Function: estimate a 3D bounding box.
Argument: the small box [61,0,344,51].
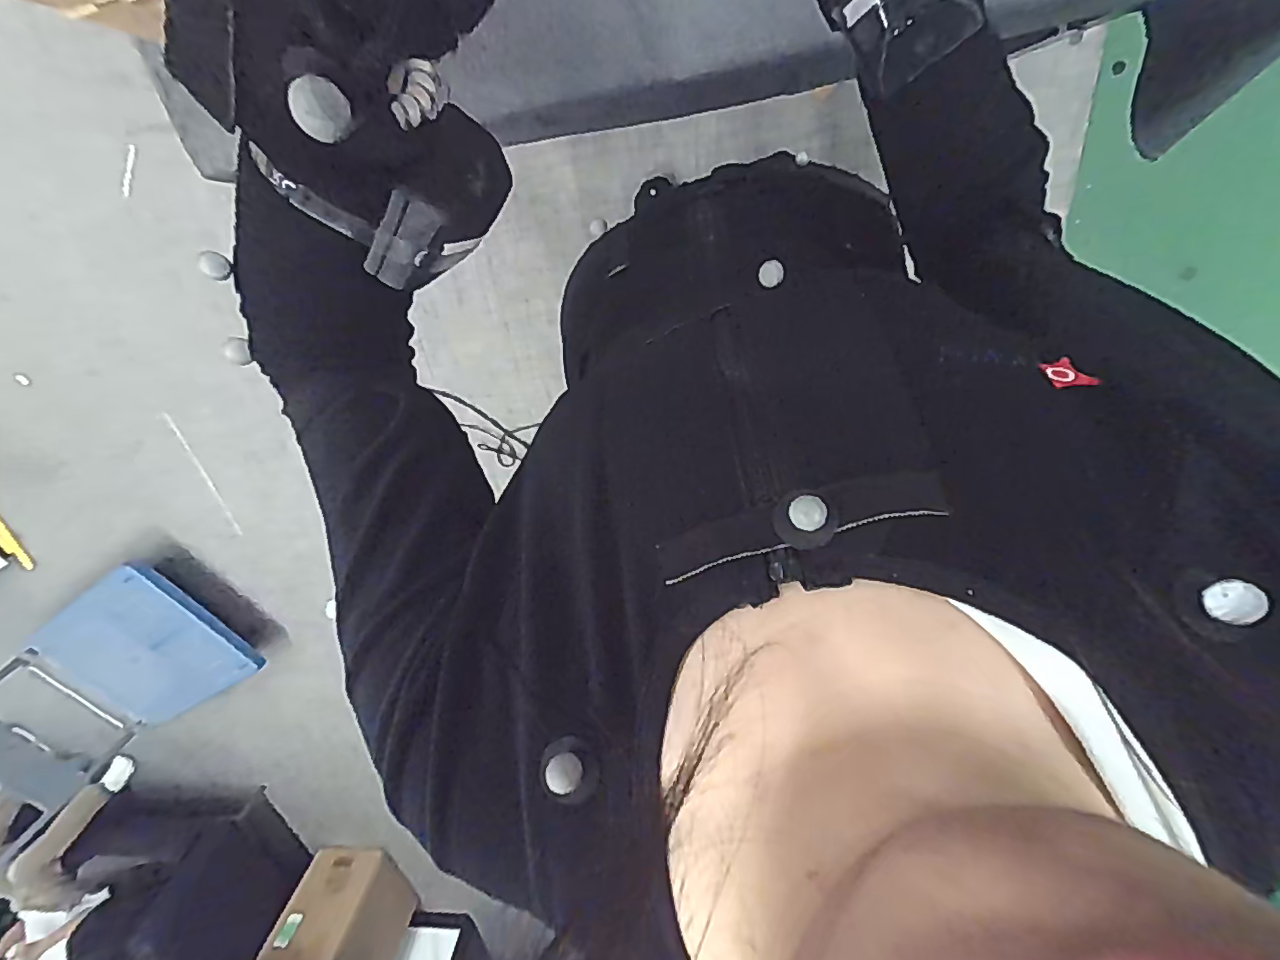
[{"bbox_3d":[-0.403,-0.510,0.465,0.168,0.176,0.179,-7,118,11],"label":"small box"}]
